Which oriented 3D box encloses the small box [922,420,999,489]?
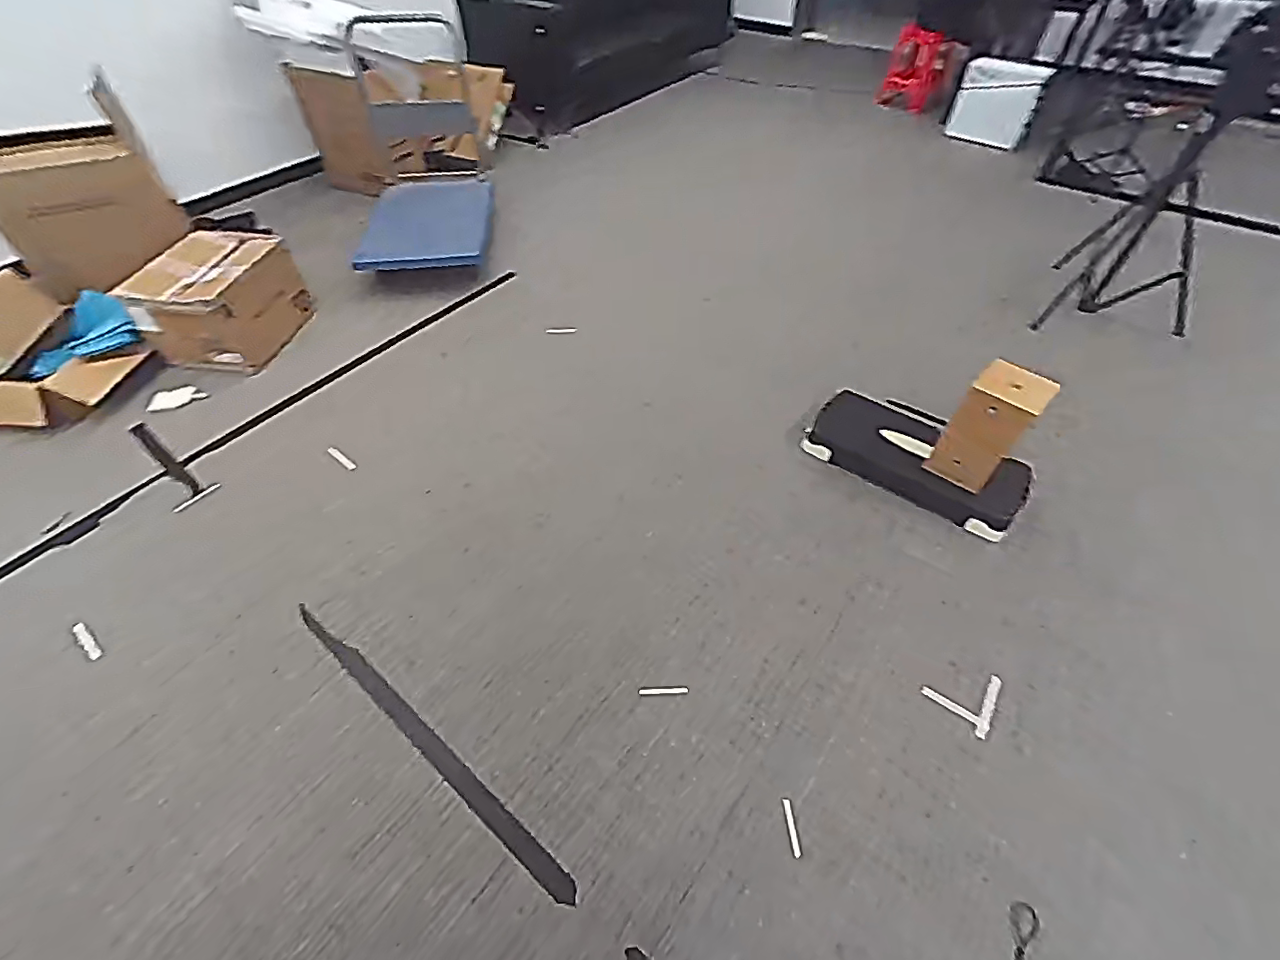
[{"bbox_3d":[0.988,-0.103,1.640,0.168,0.176,0.179,34,58,25],"label":"small box"}]

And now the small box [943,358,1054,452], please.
[{"bbox_3d":[0.995,-0.203,1.511,0.179,0.176,0.168,36,60,28],"label":"small box"}]
